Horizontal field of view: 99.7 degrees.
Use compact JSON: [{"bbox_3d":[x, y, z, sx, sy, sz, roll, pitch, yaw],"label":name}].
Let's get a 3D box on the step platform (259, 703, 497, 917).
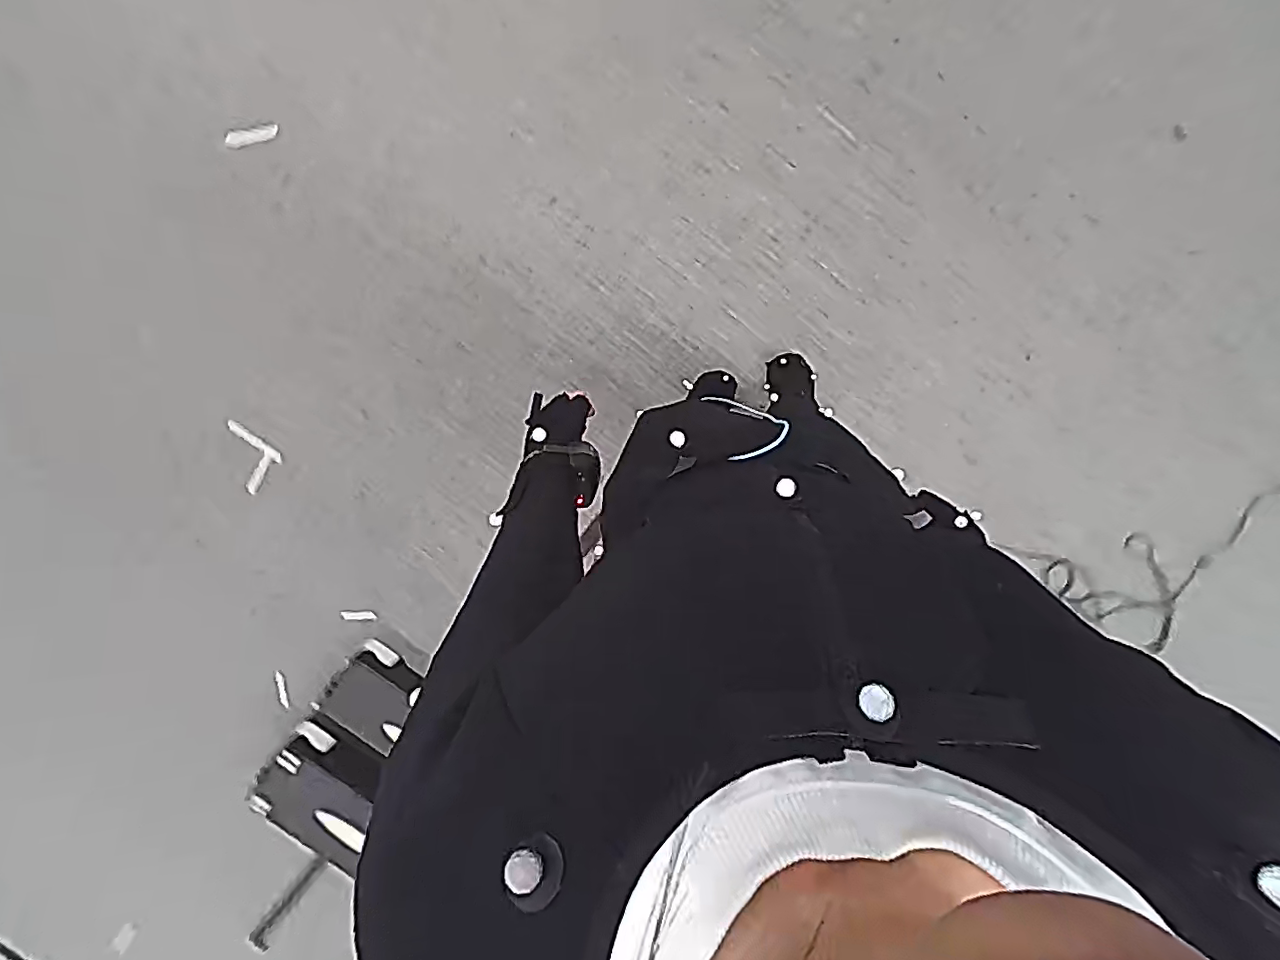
[{"bbox_3d":[-0.796,1.015,1.667,0.684,0.204,0.286,37,102,-2],"label":"step platform"}]
